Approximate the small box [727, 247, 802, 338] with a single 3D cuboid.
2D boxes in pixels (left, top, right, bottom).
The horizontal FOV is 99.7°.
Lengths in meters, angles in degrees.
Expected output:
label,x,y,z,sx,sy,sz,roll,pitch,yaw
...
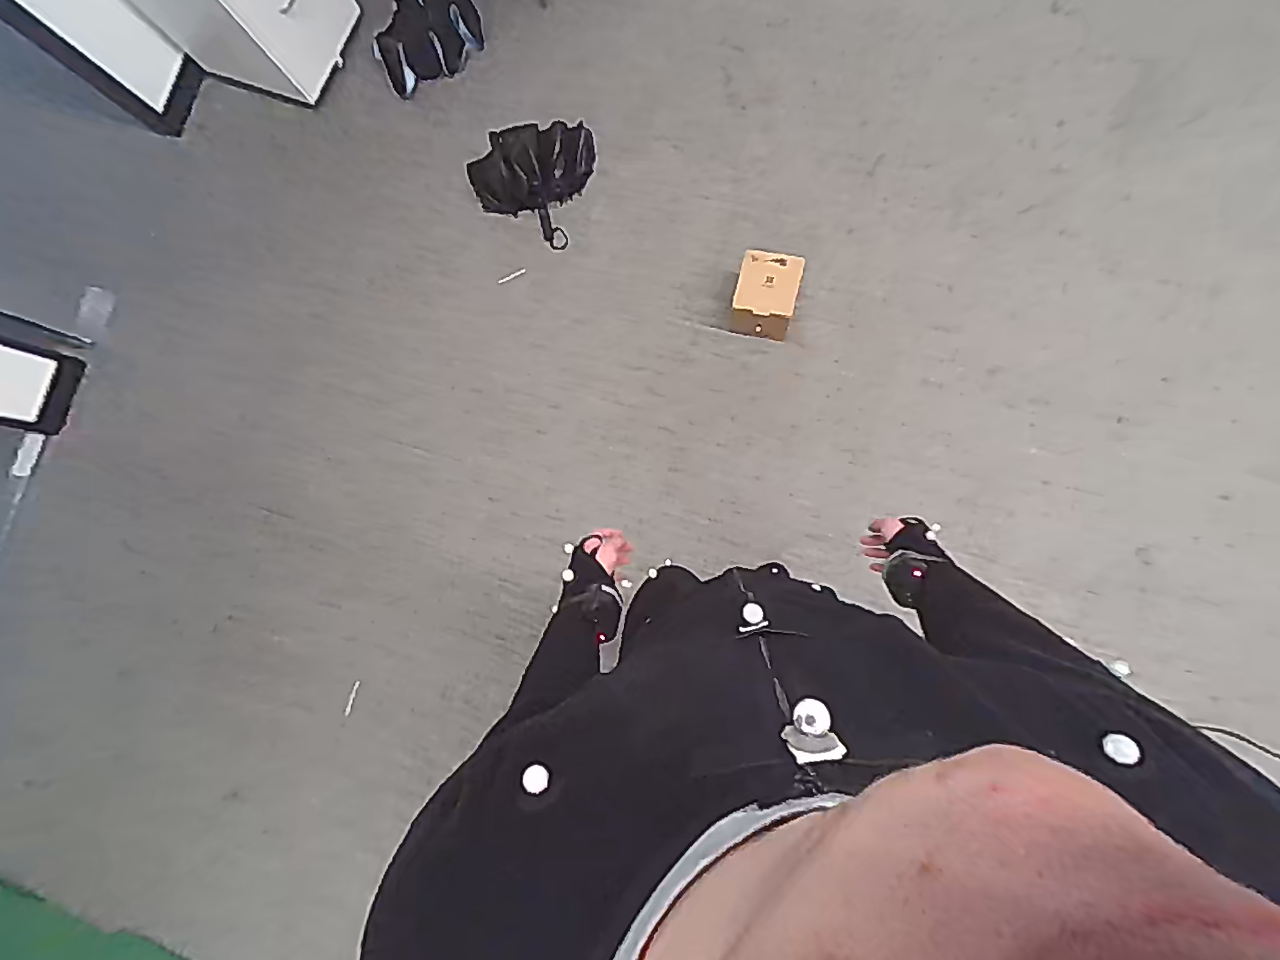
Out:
label,x,y,z,sx,sy,sz,roll,pitch,yaw
small box,0.349,-0.525,1.536,0.168,0.176,0.179,15,85,10
